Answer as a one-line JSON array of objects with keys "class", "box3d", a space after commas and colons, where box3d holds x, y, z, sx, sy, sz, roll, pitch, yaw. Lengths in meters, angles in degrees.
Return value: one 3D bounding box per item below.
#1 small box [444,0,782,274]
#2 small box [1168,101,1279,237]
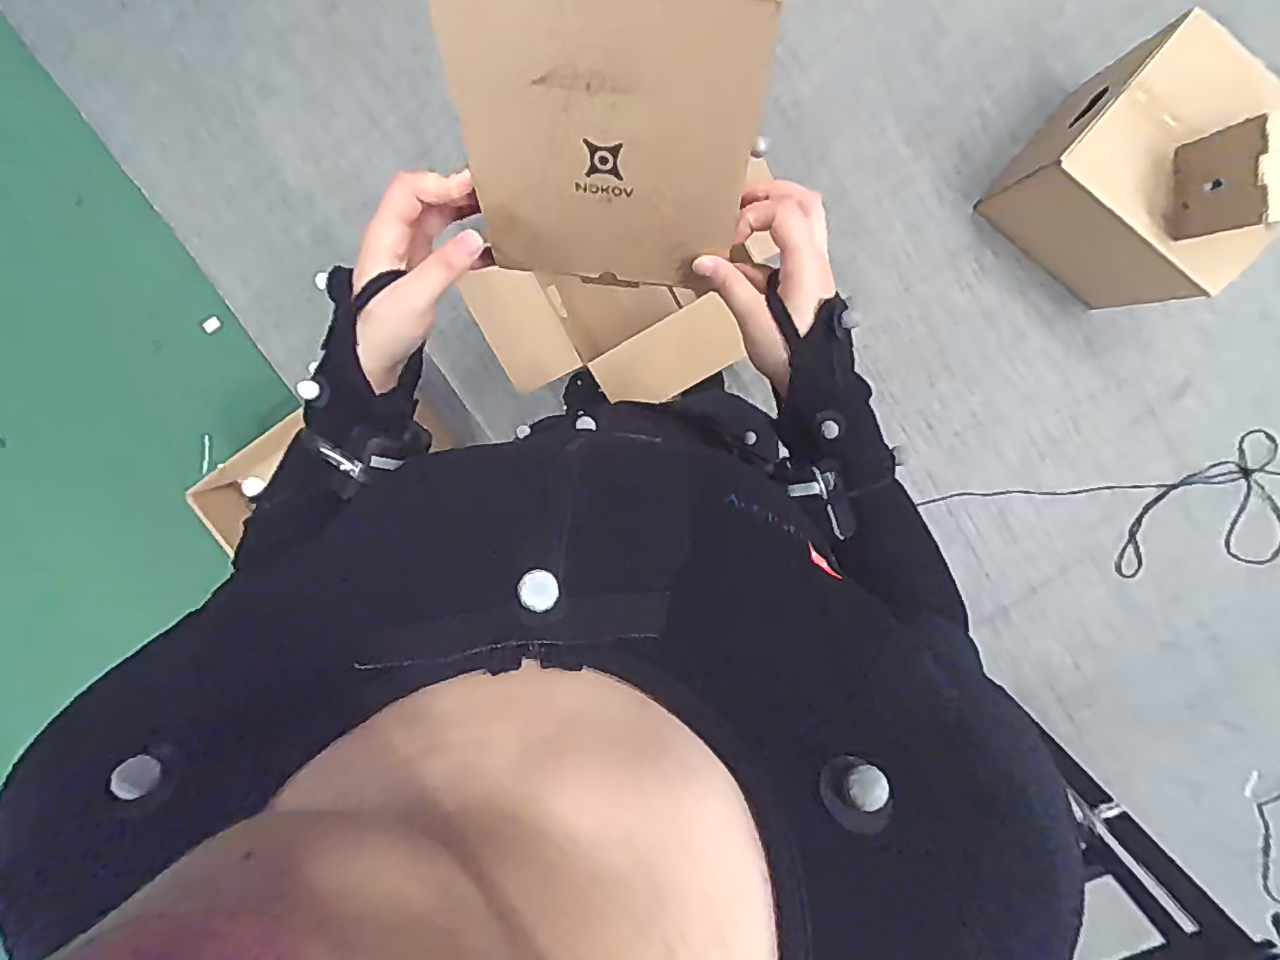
[{"class": "small box", "box3d": [-0.006, -0.269, 0.353, 0.168, 0.179, 0.176, 7, 64, 2]}, {"class": "small box", "box3d": [1.051, -0.528, 0.913, 0.179, 0.176, 0.168, -11, 102, 8]}]
